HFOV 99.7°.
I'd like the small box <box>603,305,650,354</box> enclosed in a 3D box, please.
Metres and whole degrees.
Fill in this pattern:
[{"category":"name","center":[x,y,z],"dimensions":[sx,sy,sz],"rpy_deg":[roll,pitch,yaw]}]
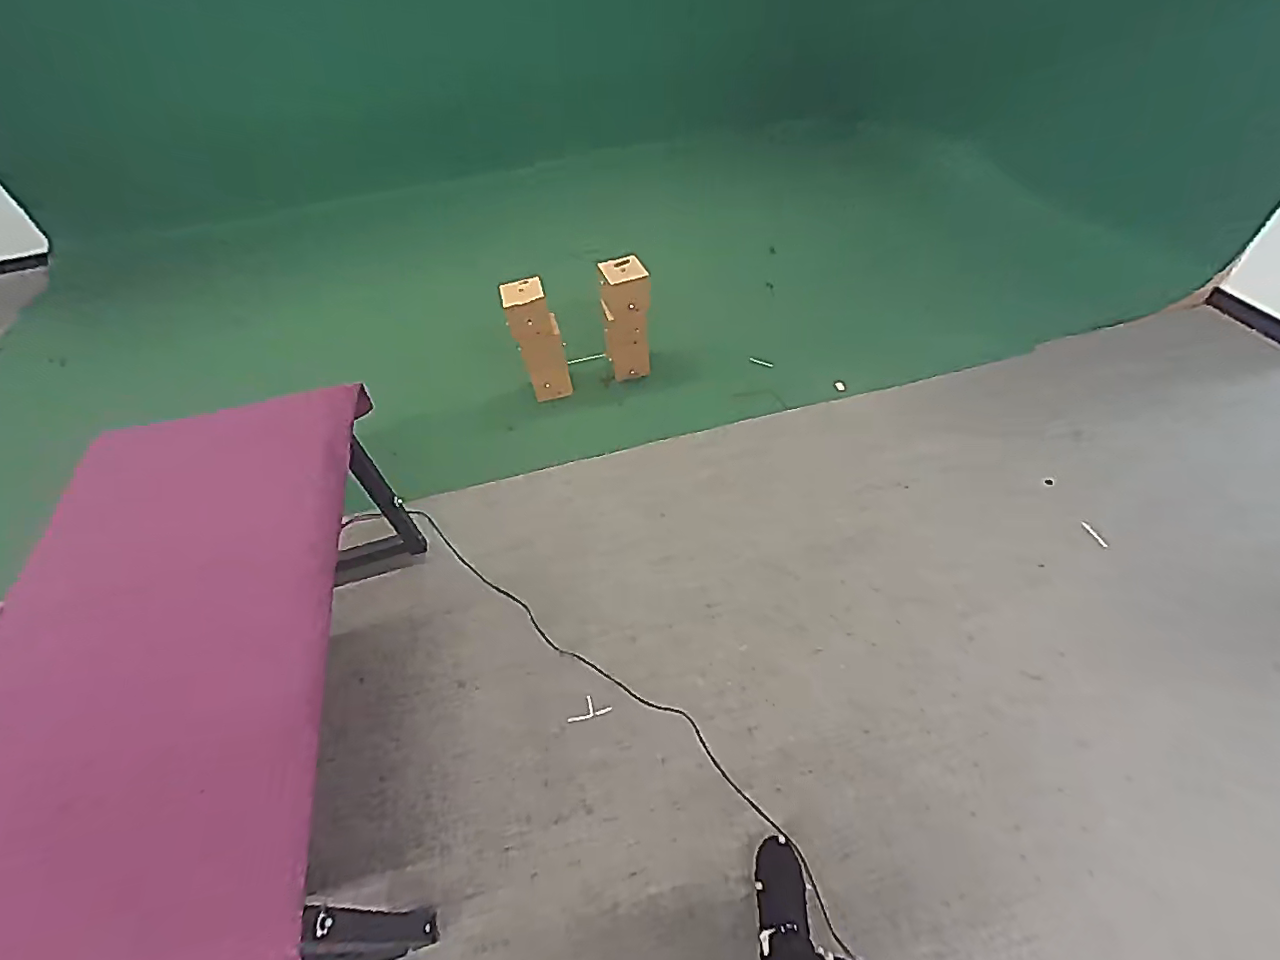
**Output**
[{"category":"small box","center":[-0.057,-0.674,2.393],"dimensions":[0.168,0.176,0.179],"rpy_deg":[-14,50,-7]}]

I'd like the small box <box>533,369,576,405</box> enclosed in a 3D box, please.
[{"category":"small box","center":[-0.398,-0.459,2.465],"dimensions":[0.168,0.176,0.179],"rpy_deg":[-15,49,-6]}]

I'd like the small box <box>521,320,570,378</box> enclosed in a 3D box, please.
[{"category":"small box","center":[-0.414,-0.562,2.338],"dimensions":[0.179,0.176,0.168],"rpy_deg":[-15,49,-6]}]

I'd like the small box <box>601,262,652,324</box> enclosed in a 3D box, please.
[{"category":"small box","center":[-0.054,-0.783,2.270],"dimensions":[0.168,0.176,0.179],"rpy_deg":[-18,52,-10]}]

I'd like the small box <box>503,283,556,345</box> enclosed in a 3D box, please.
[{"category":"small box","center":[-0.452,-0.675,2.222],"dimensions":[0.168,0.176,0.179],"rpy_deg":[-15,50,-5]}]
